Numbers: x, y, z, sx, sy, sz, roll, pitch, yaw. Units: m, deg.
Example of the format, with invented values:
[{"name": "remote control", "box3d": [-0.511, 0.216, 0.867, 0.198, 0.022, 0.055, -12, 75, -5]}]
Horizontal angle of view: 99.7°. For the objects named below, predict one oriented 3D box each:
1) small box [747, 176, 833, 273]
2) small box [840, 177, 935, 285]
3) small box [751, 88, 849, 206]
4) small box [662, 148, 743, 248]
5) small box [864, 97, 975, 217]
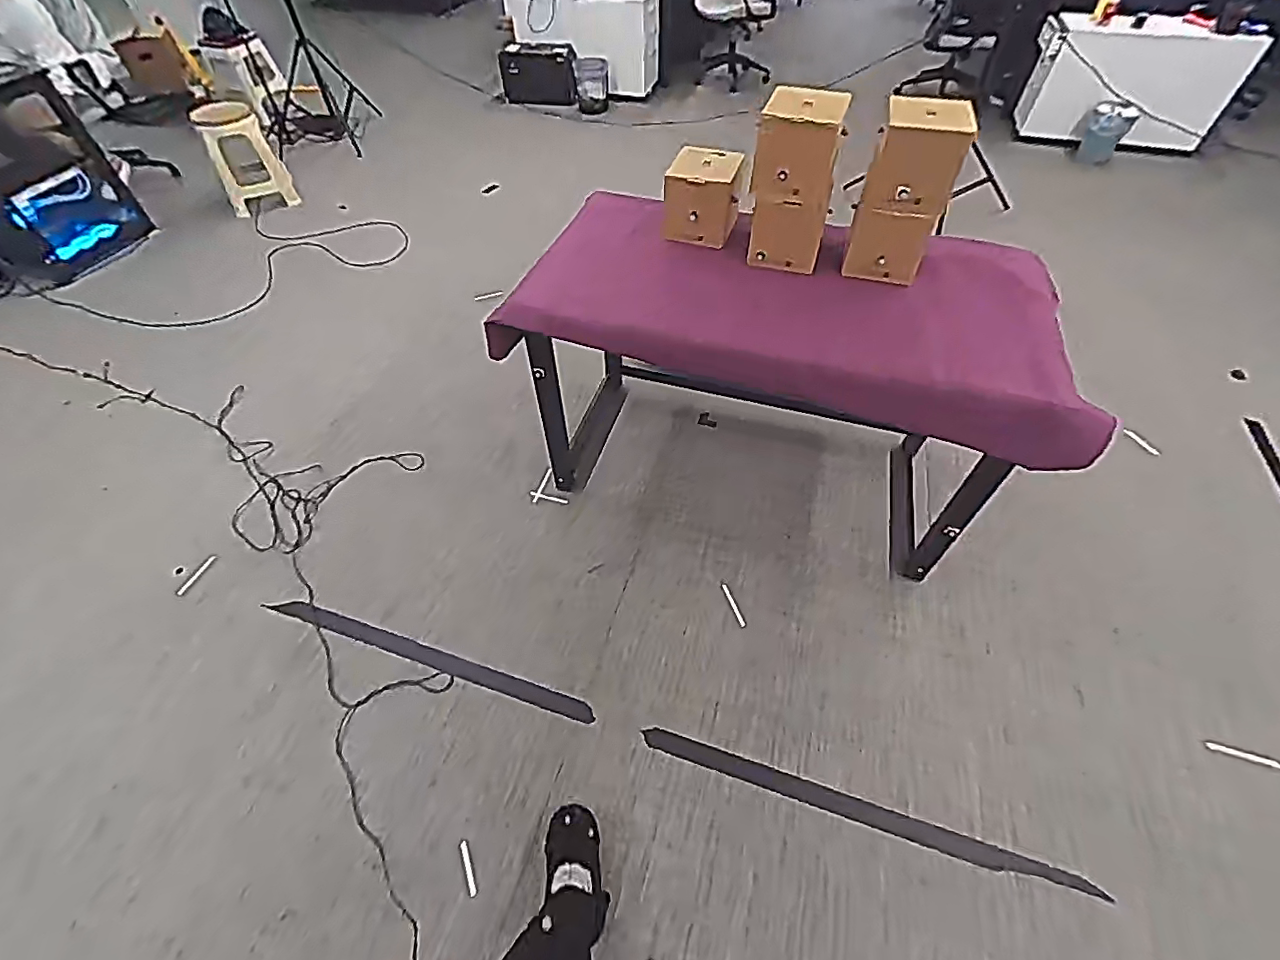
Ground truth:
[{"name": "small box", "box3d": [0.368, -0.640, 1.341, 0.168, 0.176, 0.179, 14, 53, 11]}, {"name": "small box", "box3d": [0.594, -0.601, 1.307, 0.168, 0.176, 0.179, 14, 54, 12]}, {"name": "small box", "box3d": [0.355, -0.747, 1.218, 0.168, 0.176, 0.179, 16, 55, 12]}, {"name": "small box", "box3d": [0.162, -0.735, 1.416, 0.168, 0.176, 0.179, 15, 56, 12]}, {"name": "small box", "box3d": [0.599, -0.703, 1.181, 0.168, 0.176, 0.179, 11, 54, 11]}]
